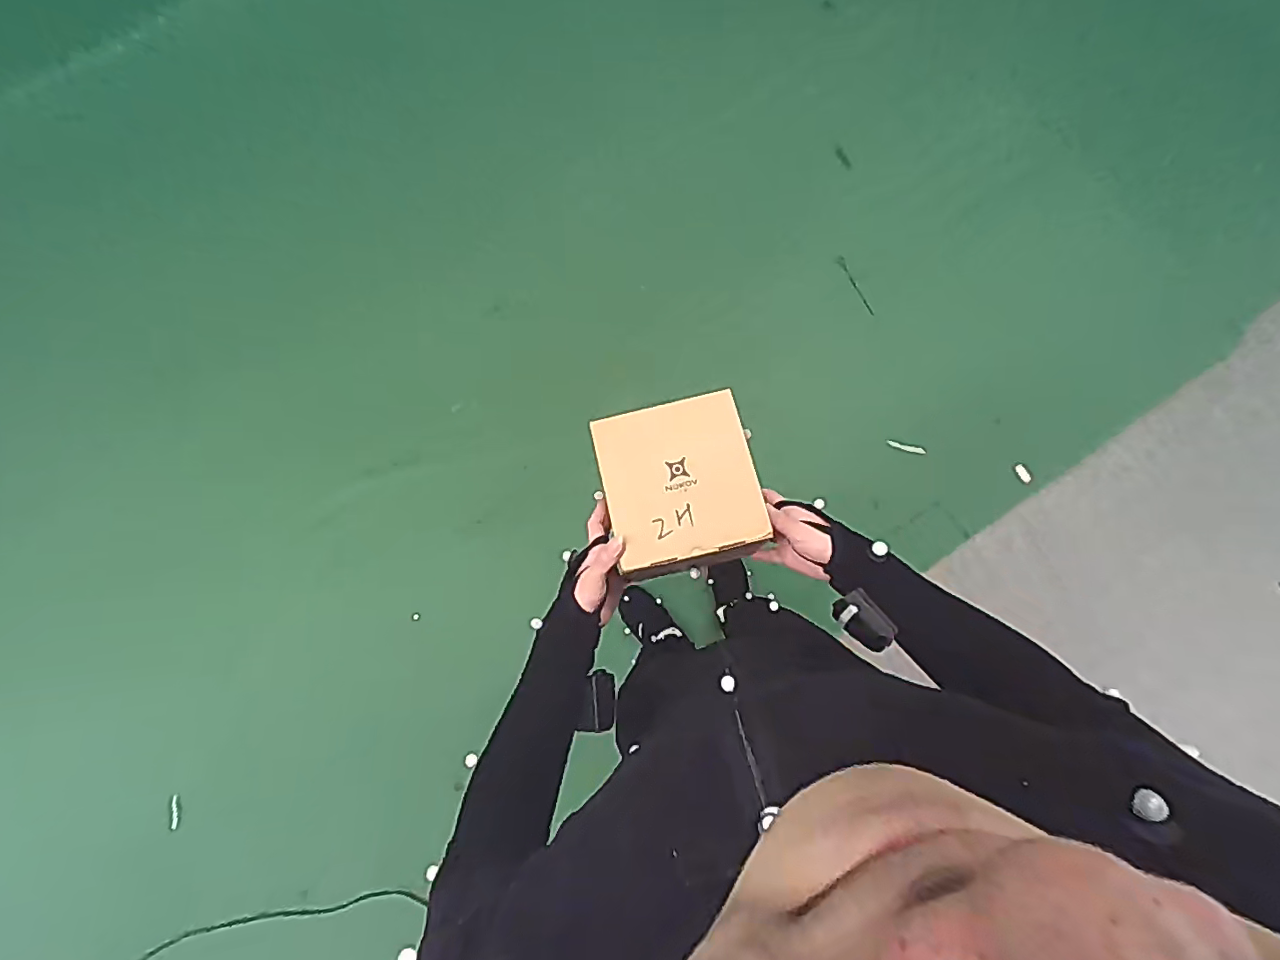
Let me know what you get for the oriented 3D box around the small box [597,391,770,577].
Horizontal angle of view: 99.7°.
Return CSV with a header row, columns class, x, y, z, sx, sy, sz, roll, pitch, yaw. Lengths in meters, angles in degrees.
class,x,y,z,sx,sy,sz,roll,pitch,yaw
small box,0.048,0.014,0.674,0.168,0.176,0.179,-12,75,0
